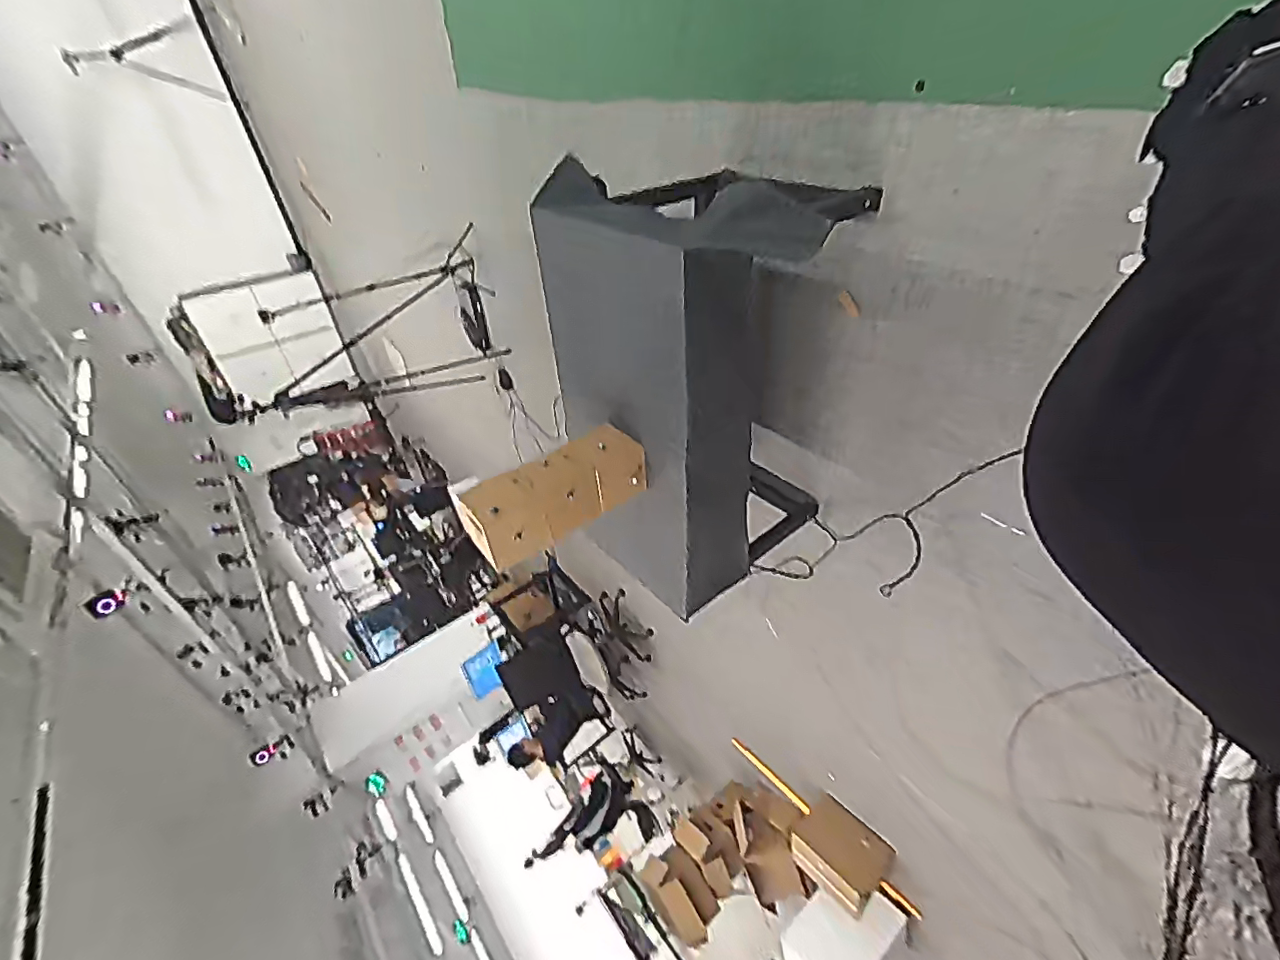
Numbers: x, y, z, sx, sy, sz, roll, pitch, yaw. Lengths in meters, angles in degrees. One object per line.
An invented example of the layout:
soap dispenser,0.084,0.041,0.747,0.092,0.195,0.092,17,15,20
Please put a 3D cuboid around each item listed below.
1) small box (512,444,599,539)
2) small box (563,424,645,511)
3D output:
small box,-0.231,0.025,1.510,0.168,0.176,0.179,36,143,41
small box,-0.103,-0.046,1.582,0.179,0.176,0.168,36,143,38
